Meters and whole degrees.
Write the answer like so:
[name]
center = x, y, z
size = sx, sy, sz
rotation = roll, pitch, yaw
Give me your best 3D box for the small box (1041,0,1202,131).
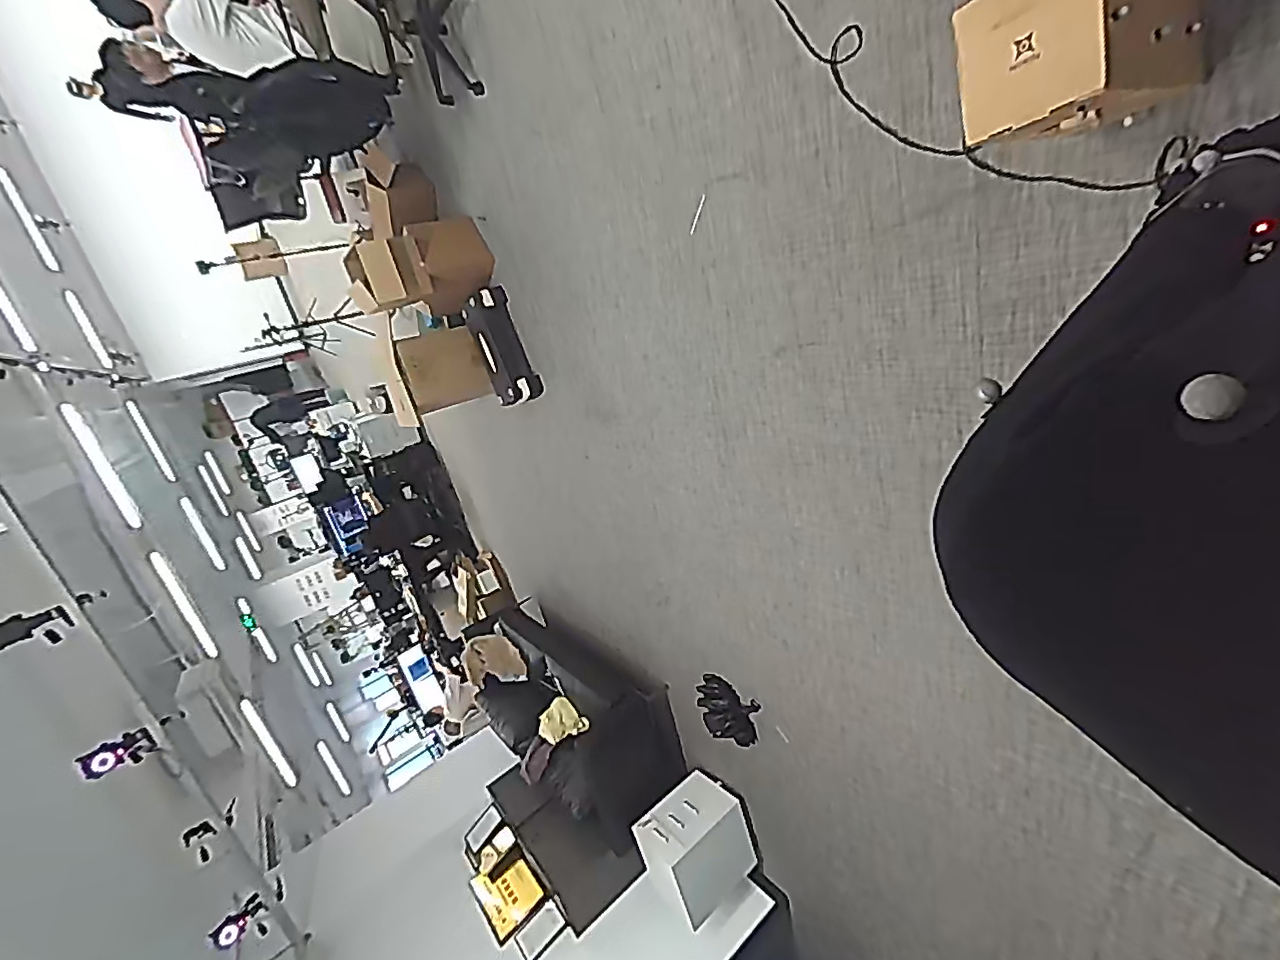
[small box]
center = 0.816, -0.726, 0.916
size = 0.168, 0.176, 0.179
rotation = 1, 114, 56
